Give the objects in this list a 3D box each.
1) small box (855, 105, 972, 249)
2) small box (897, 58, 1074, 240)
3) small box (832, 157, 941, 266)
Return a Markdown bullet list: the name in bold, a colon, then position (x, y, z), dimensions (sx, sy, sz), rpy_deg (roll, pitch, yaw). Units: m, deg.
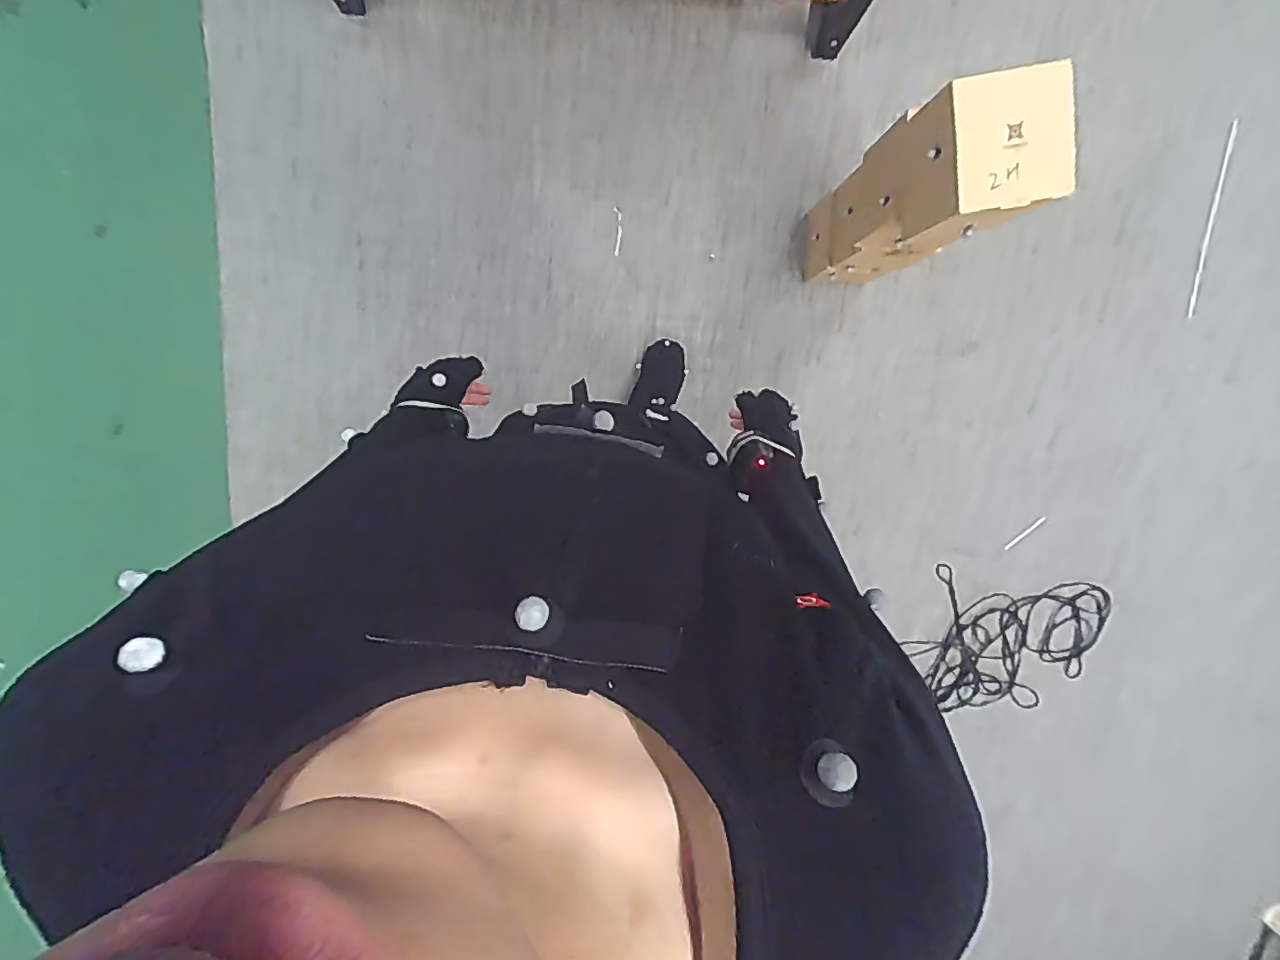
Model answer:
- **small box**: position (0.508, -0.534, 0.975), dimensions (0.168, 0.176, 0.179), rpy_deg (4, 101, -1)
- **small box**: position (0.509, -0.485, 0.818), dimensions (0.168, 0.176, 0.179), rpy_deg (-9, 101, 1)
- **small box**: position (0.517, -0.557, 1.136), dimensions (0.168, 0.176, 0.179), rpy_deg (1, 100, -2)
